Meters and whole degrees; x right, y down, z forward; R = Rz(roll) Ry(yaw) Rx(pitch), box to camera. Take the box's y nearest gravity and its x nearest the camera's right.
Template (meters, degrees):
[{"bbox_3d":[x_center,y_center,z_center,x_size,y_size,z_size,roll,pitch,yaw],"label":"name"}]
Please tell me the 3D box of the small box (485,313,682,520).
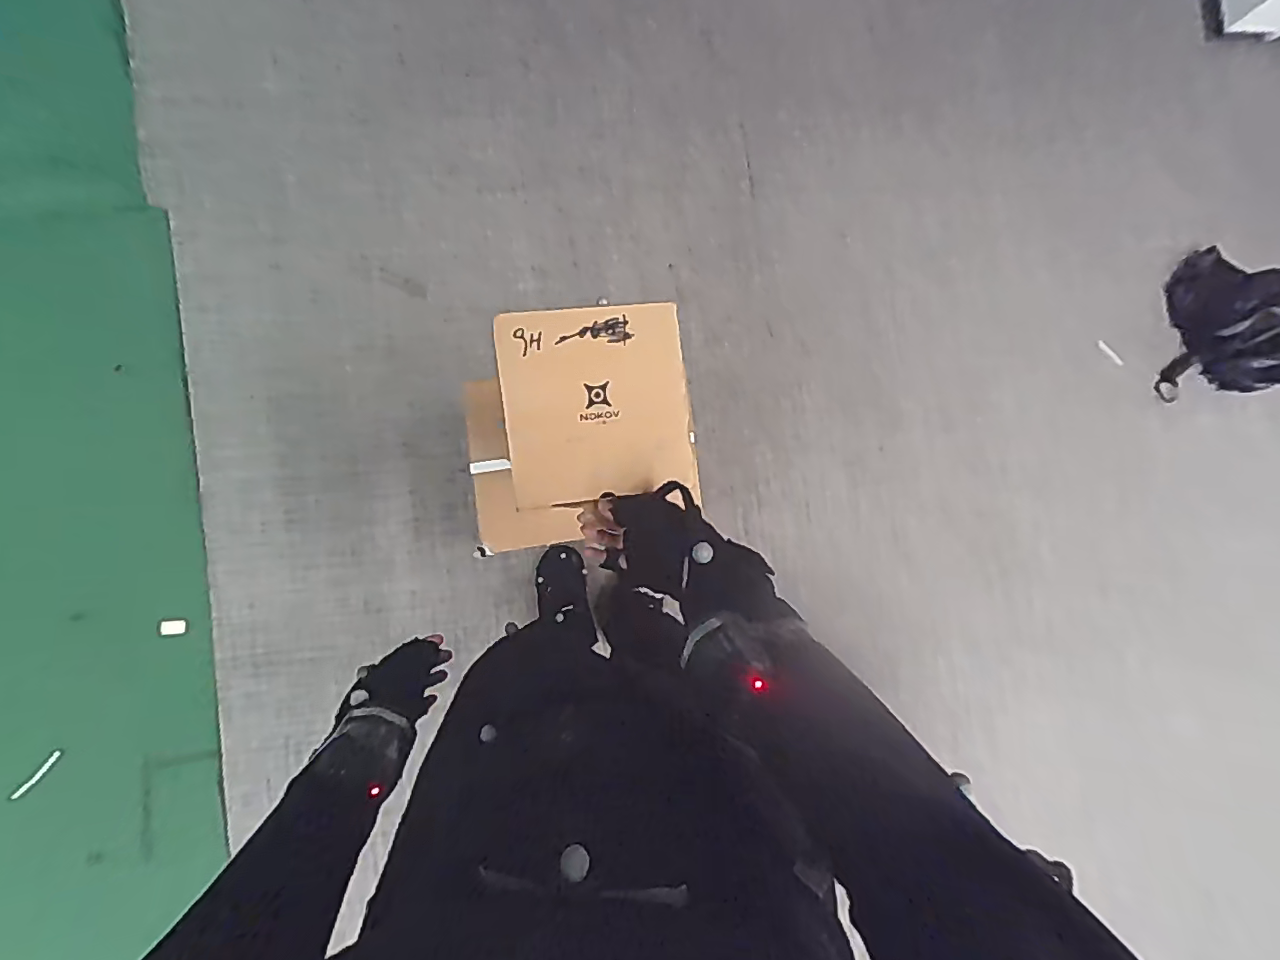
[{"bbox_3d":[-0.059,-0.064,0.570,0.168,0.176,0.179,-8,94,-9],"label":"small box"}]
